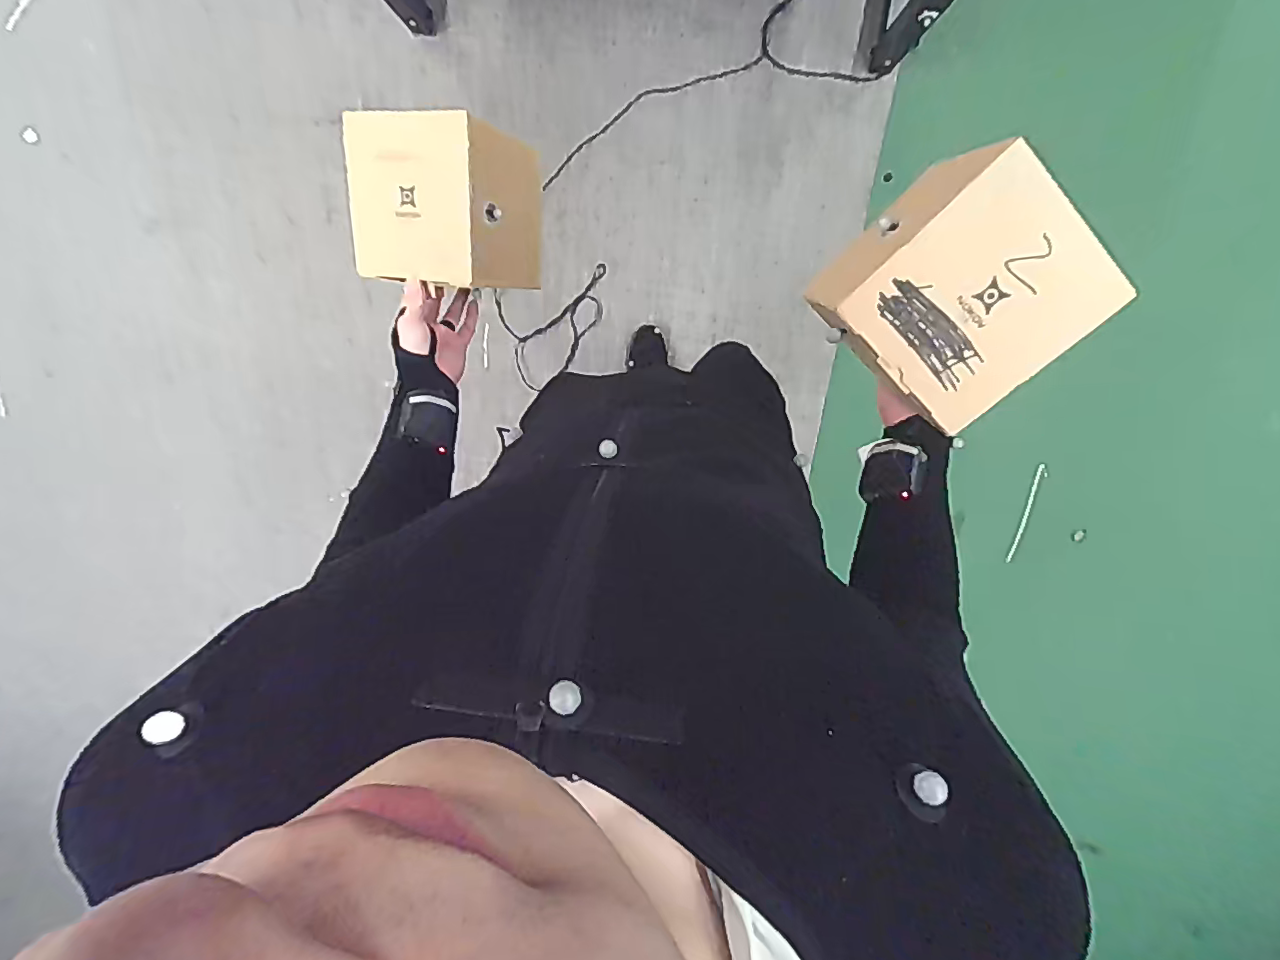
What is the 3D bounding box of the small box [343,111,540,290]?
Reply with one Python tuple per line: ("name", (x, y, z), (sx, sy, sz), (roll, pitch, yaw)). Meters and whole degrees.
("small box", (-0.237, -0.340, 0.683), (0.168, 0.176, 0.179), (11, 111, 15))
